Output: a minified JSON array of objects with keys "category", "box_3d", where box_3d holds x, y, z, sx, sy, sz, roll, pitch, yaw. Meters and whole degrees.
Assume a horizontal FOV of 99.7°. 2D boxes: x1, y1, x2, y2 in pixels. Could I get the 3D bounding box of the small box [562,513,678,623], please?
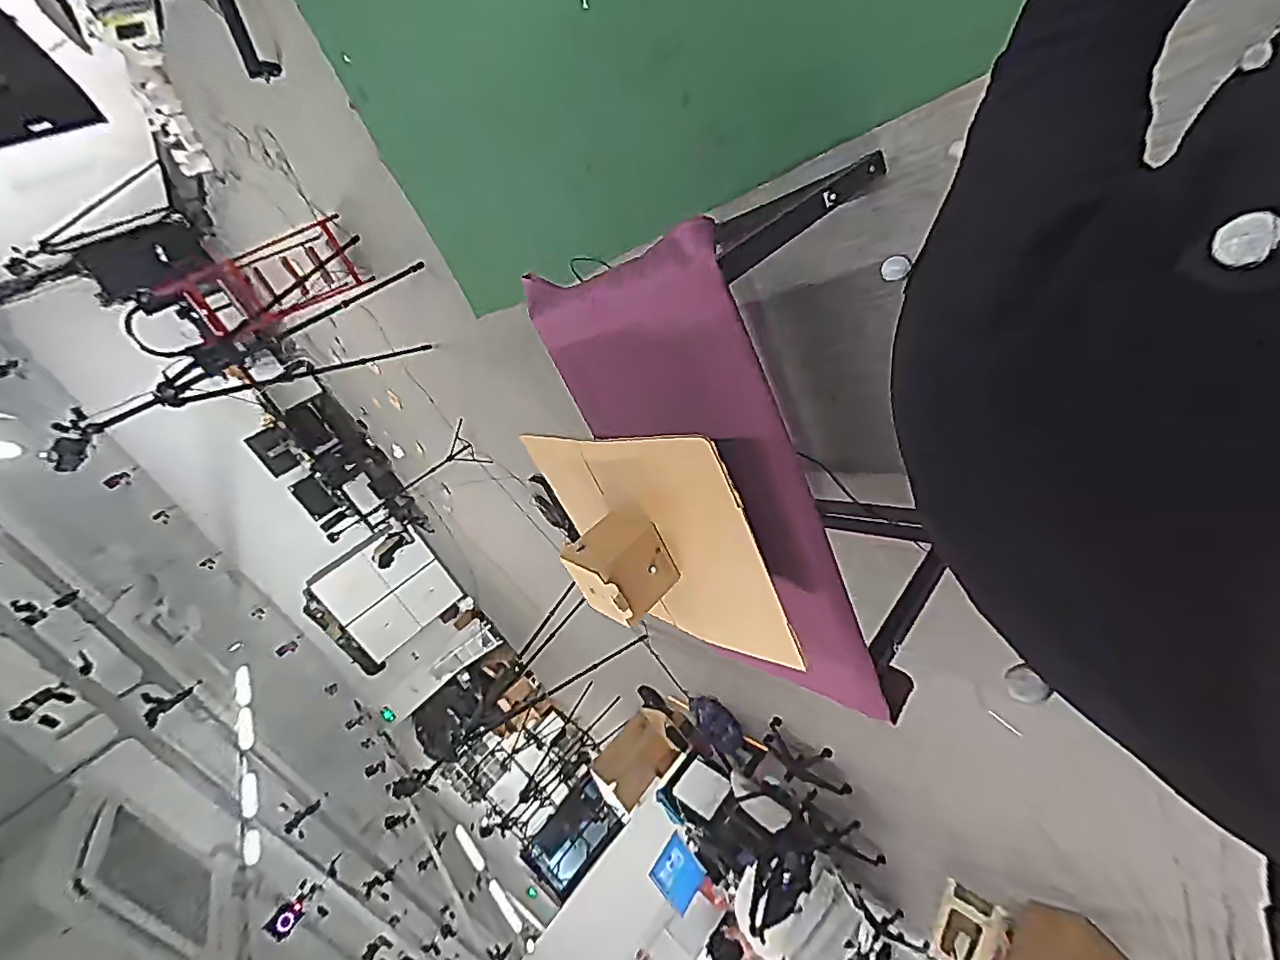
[{"category":"small box","box_3d":[-0.043,0.195,1.256,0.179,0.176,0.168,9,133,51]}]
